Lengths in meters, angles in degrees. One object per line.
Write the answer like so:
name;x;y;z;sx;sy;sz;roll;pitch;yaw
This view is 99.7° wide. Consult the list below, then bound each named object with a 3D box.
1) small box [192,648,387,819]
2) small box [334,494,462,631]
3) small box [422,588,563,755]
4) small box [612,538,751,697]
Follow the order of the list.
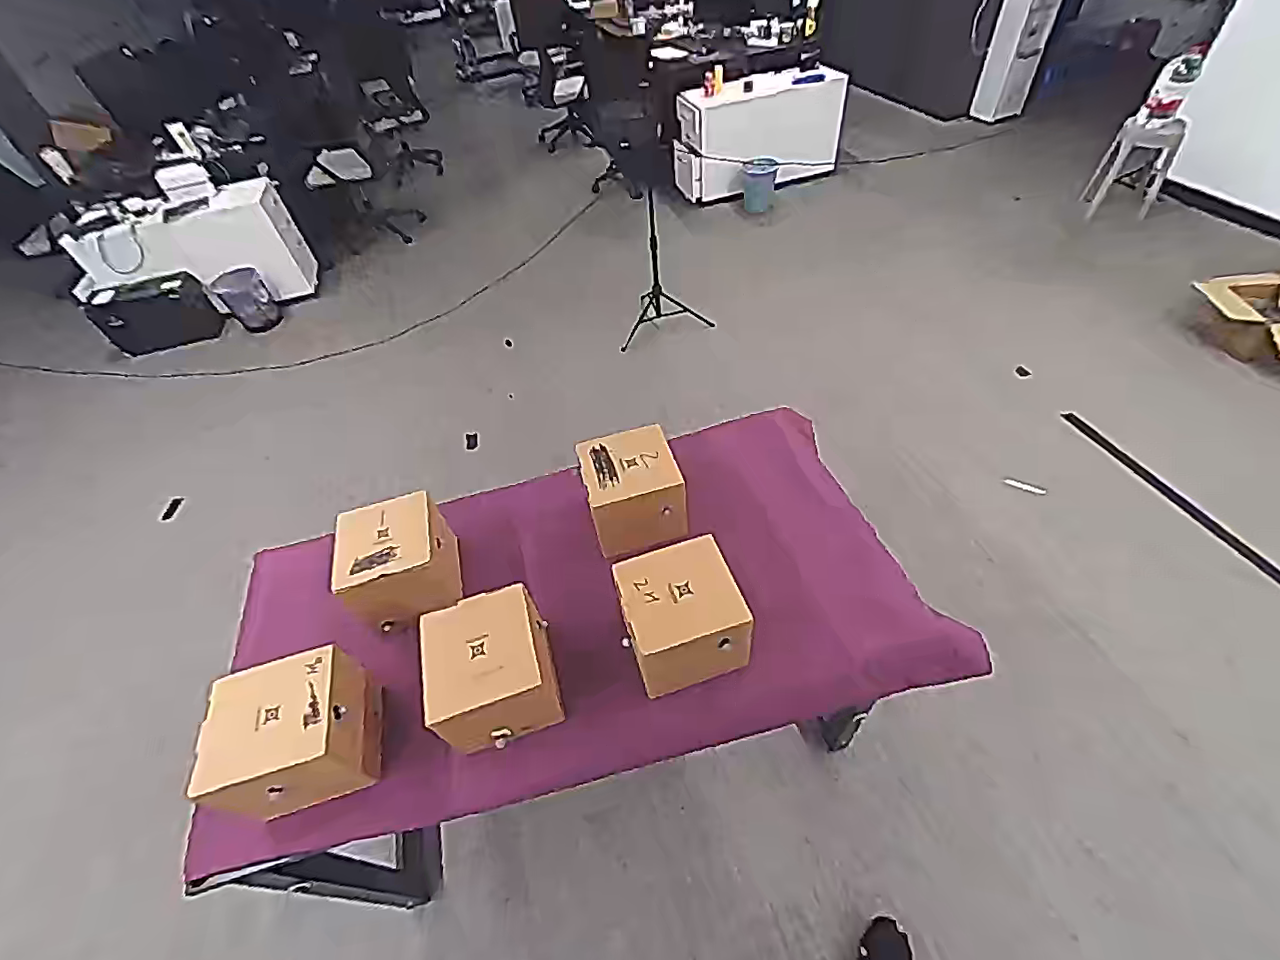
small box;-0.513;0.388;0.822;0.179;0.176;0.168;-17;49;-6
small box;-0.445;0.162;1.015;0.168;0.176;0.179;-17;49;-8
small box;-0.232;0.306;0.862;0.168;0.176;0.179;-17;51;-7
small box;0.066;0.227;0.886;0.179;0.176;0.168;-17;48;-7
